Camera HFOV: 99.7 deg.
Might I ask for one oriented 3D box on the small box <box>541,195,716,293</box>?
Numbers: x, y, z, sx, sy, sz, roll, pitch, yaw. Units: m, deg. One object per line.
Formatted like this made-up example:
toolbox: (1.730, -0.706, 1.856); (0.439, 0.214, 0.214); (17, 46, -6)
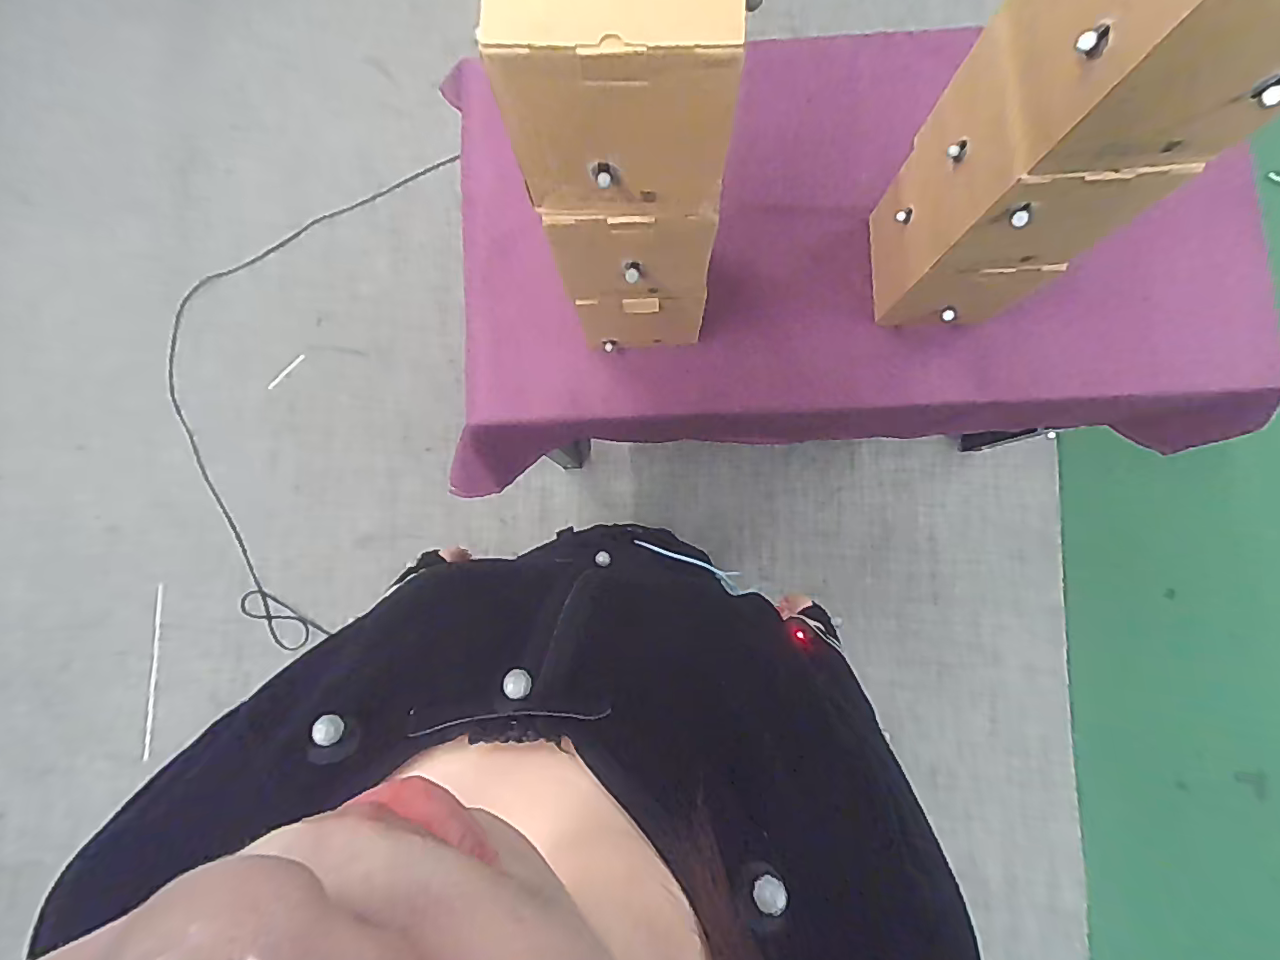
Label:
small box: (-0.009, -0.313, 0.583); (0.168, 0.176, 0.179); (-1, 85, 1)

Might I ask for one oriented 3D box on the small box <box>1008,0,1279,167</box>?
small box: (0.420, -0.366, 0.411); (0.168, 0.176, 0.179); (-3, 84, 1)

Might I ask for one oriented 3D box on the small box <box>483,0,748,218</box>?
small box: (-0.012, -0.336, 0.421); (0.168, 0.176, 0.179); (1, 85, 1)

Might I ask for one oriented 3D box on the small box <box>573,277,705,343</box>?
small box: (-0.001, -0.296, 0.746); (0.168, 0.176, 0.179); (-3, 84, 1)

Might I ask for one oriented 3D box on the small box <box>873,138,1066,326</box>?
small box: (0.431, -0.326, 0.736); (0.168, 0.176, 0.179); (0, 85, 2)
